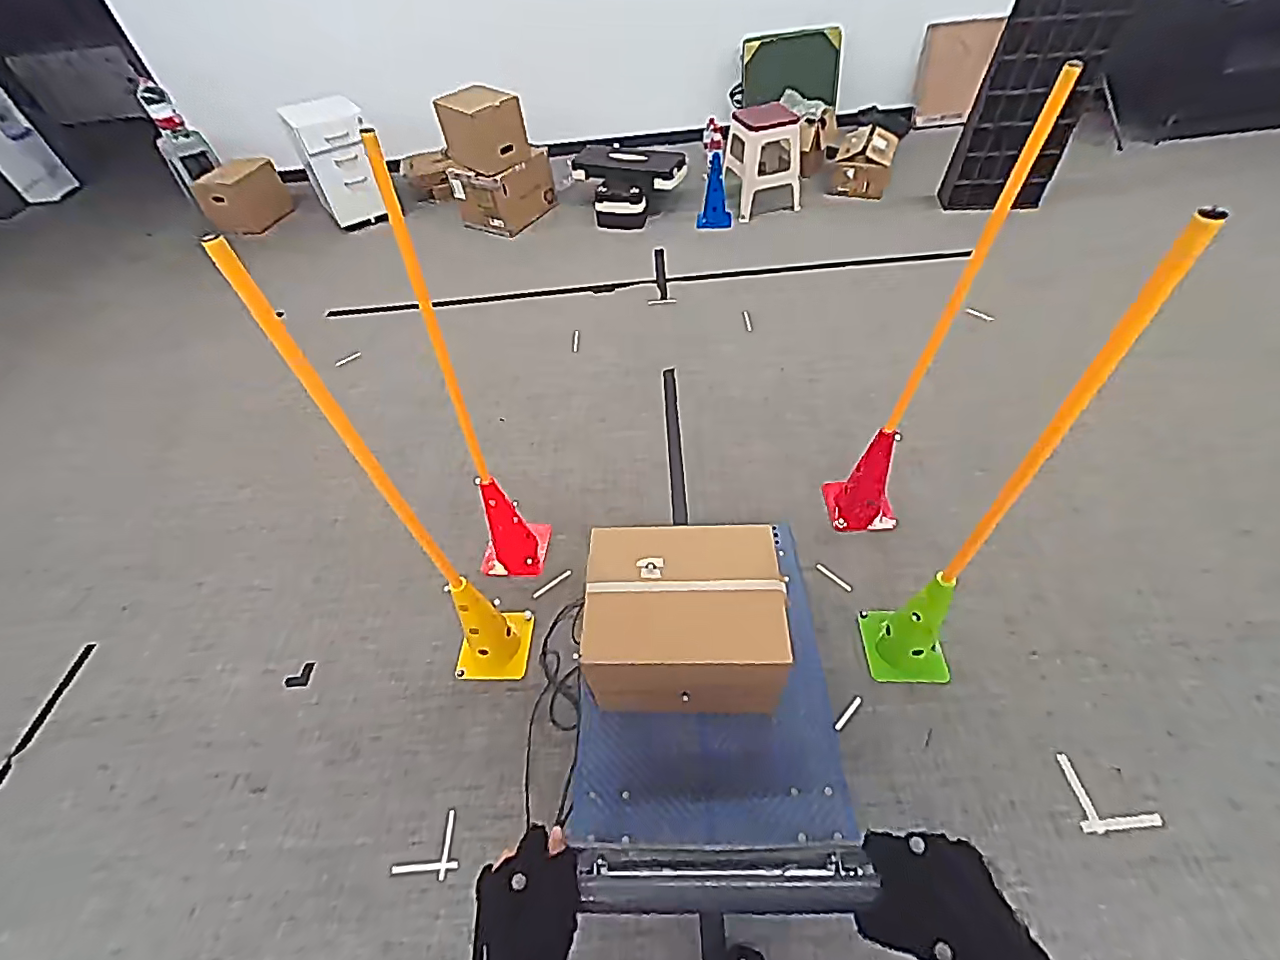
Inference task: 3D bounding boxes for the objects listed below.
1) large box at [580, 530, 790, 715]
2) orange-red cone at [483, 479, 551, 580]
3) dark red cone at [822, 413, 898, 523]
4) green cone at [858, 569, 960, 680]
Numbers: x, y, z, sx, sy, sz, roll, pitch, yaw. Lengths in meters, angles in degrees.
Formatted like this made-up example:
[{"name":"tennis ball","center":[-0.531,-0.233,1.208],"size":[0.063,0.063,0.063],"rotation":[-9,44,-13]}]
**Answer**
[{"name":"large box","center":[0.100,0.332,1.228],"size":[0.408,0.320,0.320],"rotation":[-2,50,5]},{"name":"orange-red cone","center":[-0.415,0.125,1.655],"size":[0.198,0.360,0.199],"rotation":[2,48,7]},{"name":"dark red cone","center":[0.706,-0.045,1.648],"size":[0.201,0.394,0.202],"rotation":[-3,50,1]},{"name":"green cone","center":[0.703,0.335,1.346],"size":[0.202,0.368,0.200],"rotation":[-1,49,4]}]
